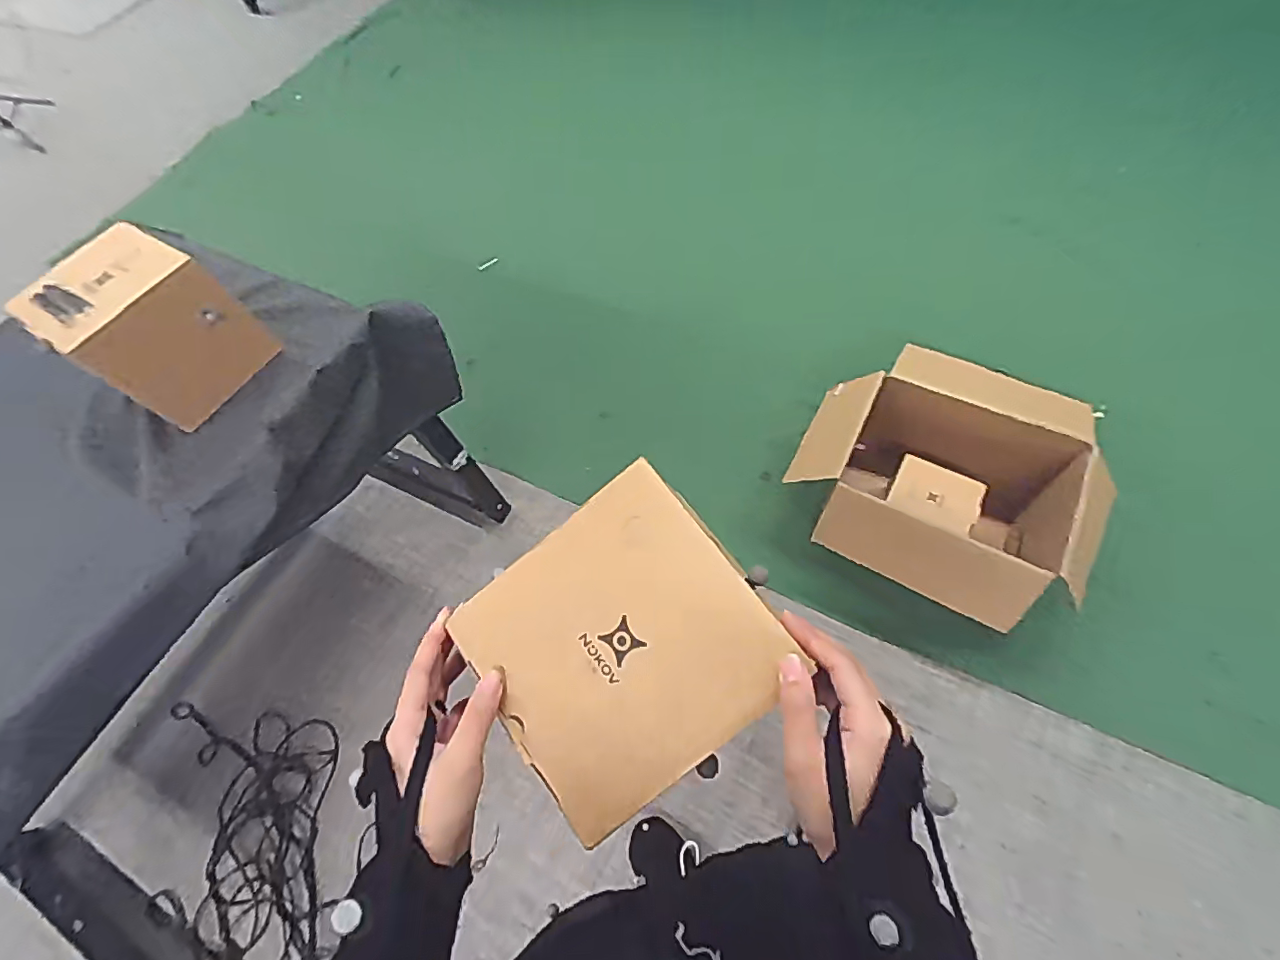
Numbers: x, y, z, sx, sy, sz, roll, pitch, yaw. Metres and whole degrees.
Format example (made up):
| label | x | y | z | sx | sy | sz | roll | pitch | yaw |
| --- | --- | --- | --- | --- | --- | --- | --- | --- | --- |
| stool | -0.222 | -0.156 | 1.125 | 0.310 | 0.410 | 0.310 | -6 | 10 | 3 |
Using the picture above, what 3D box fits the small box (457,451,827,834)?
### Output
| label | x | y | z | sx | sy | sz | roll | pitch | yaw |
| --- | --- | --- | --- | --- | --- | --- | --- | --- | --- |
| small box | 0.008 | 0.105 | 0.407 | 0.179 | 0.176 | 0.168 | -40 | 76 | 4 |
